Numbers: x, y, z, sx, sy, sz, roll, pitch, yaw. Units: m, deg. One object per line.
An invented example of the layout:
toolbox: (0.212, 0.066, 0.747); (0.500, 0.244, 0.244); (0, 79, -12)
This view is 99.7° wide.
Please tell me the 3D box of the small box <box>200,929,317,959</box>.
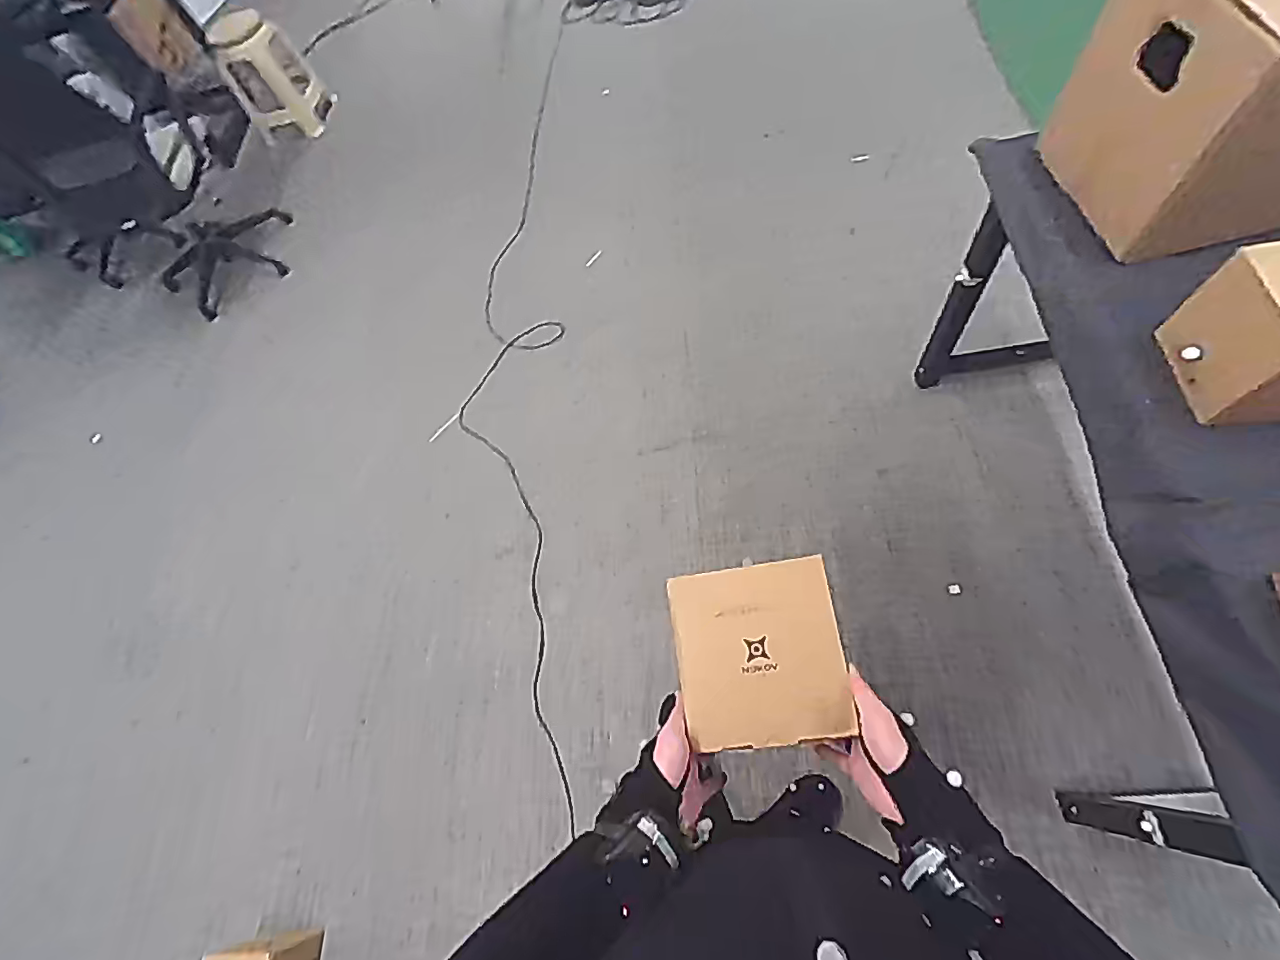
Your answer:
small box: (-0.878, 1.158, 1.234); (0.179, 0.176, 0.168); (-8, 66, 7)

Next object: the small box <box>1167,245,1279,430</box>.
small box: (0.836, -0.176, 0.673); (0.179, 0.176, 0.168); (-4, 66, 10)
